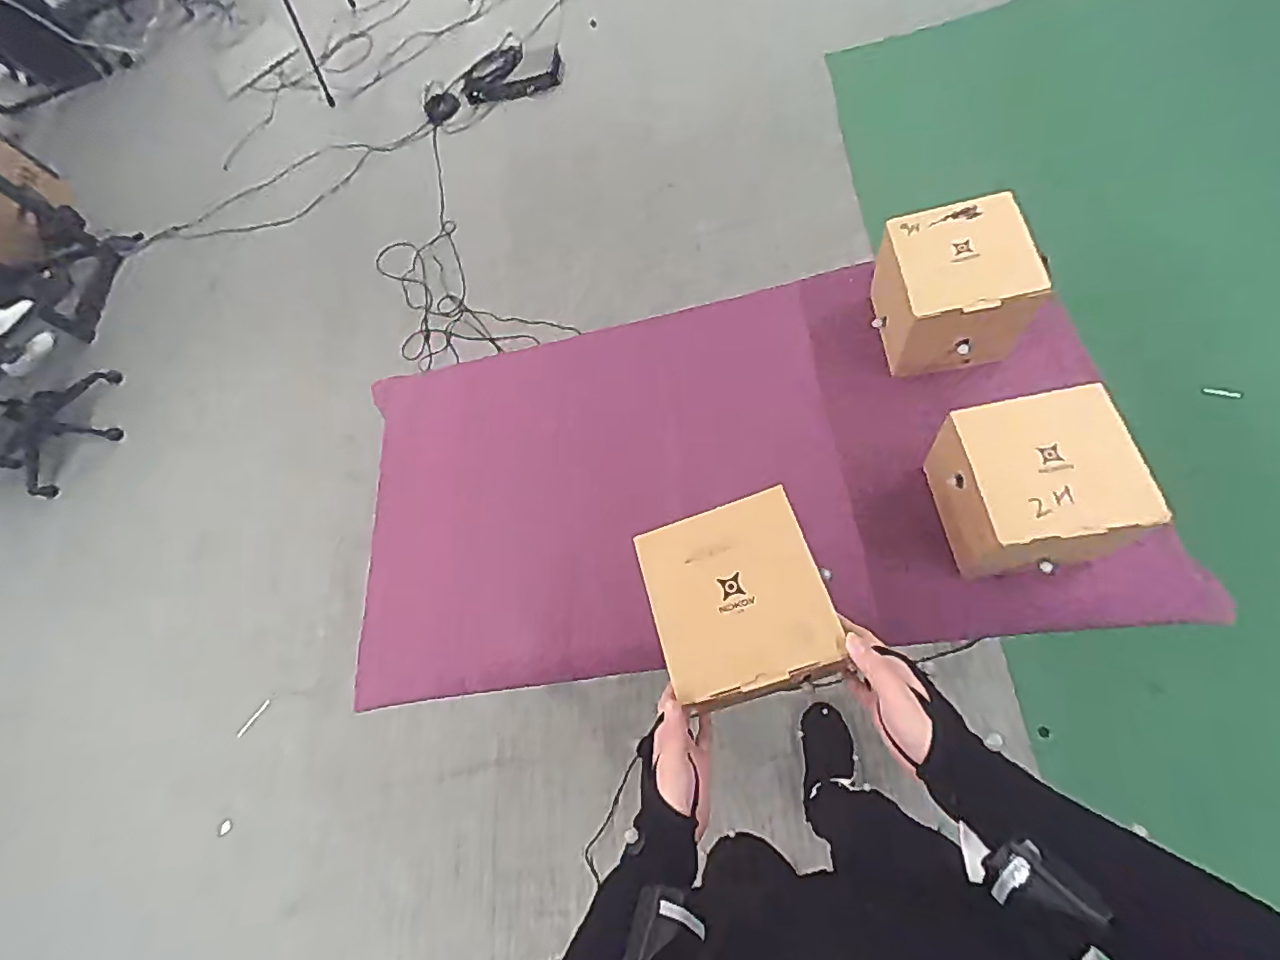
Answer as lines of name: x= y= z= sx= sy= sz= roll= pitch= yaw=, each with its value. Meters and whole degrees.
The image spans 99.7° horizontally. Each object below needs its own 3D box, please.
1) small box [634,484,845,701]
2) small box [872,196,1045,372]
small box: x=0.111 y=0.134 z=0.596 sx=0.168 sy=0.176 sz=0.179 roll=-20 pitch=62 yaw=8
small box: x=0.459 y=-0.278 z=0.811 sx=0.168 sy=0.176 sz=0.179 roll=-8 pitch=69 yaw=12
